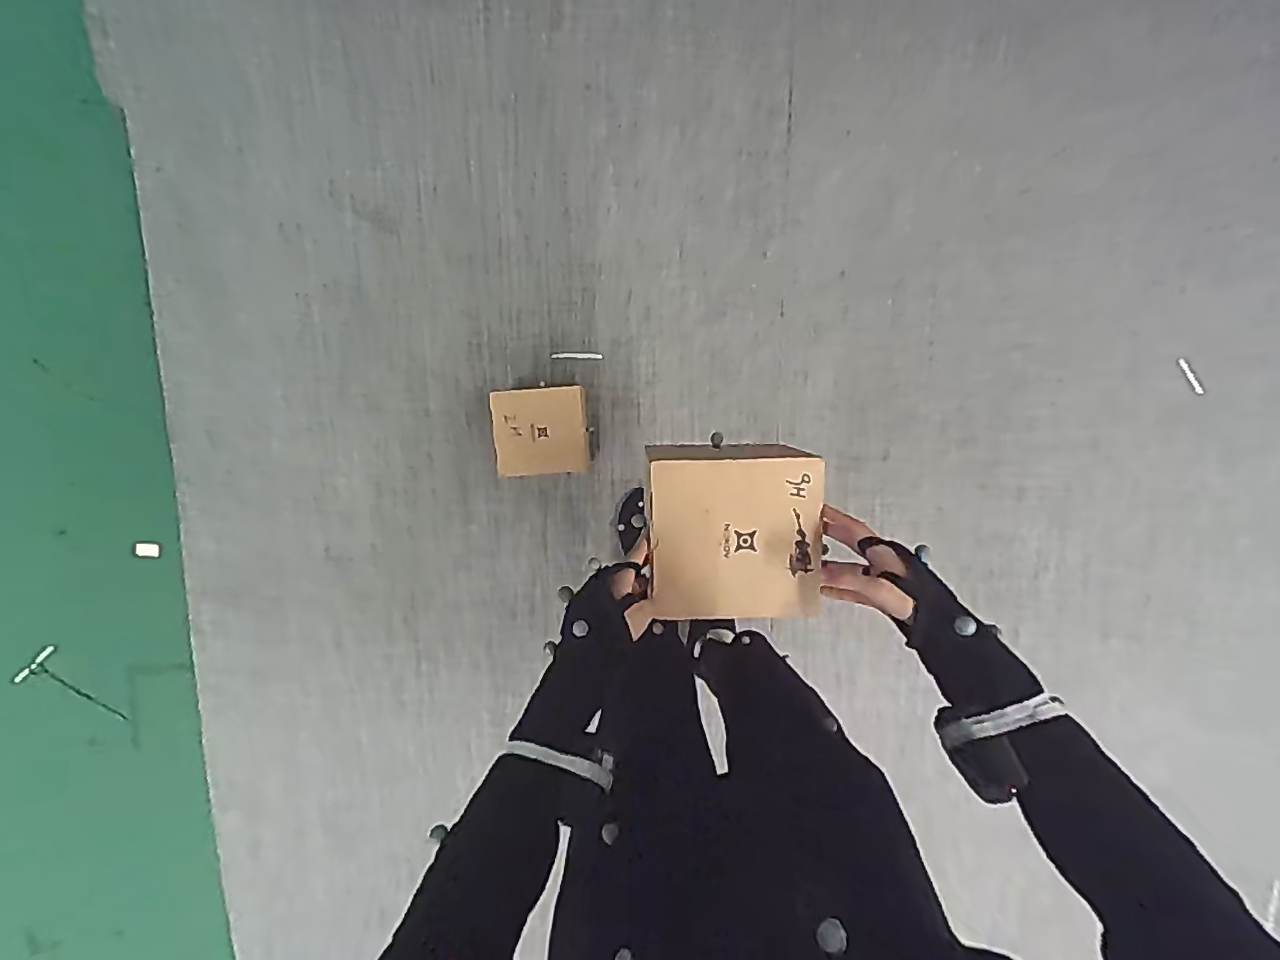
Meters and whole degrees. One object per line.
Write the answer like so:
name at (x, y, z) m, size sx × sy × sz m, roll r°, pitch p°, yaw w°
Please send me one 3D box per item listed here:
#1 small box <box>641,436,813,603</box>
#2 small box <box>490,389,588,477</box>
small box at (0.090, 0.037, 0.638) m, size 0.179 × 0.176 × 0.168 m, roll -1°, pitch 99°, yaw -1°
small box at (-0.201, -0.103, 1.129) m, size 0.179 × 0.176 × 0.168 m, roll -4°, pitch 98°, yaw -1°
